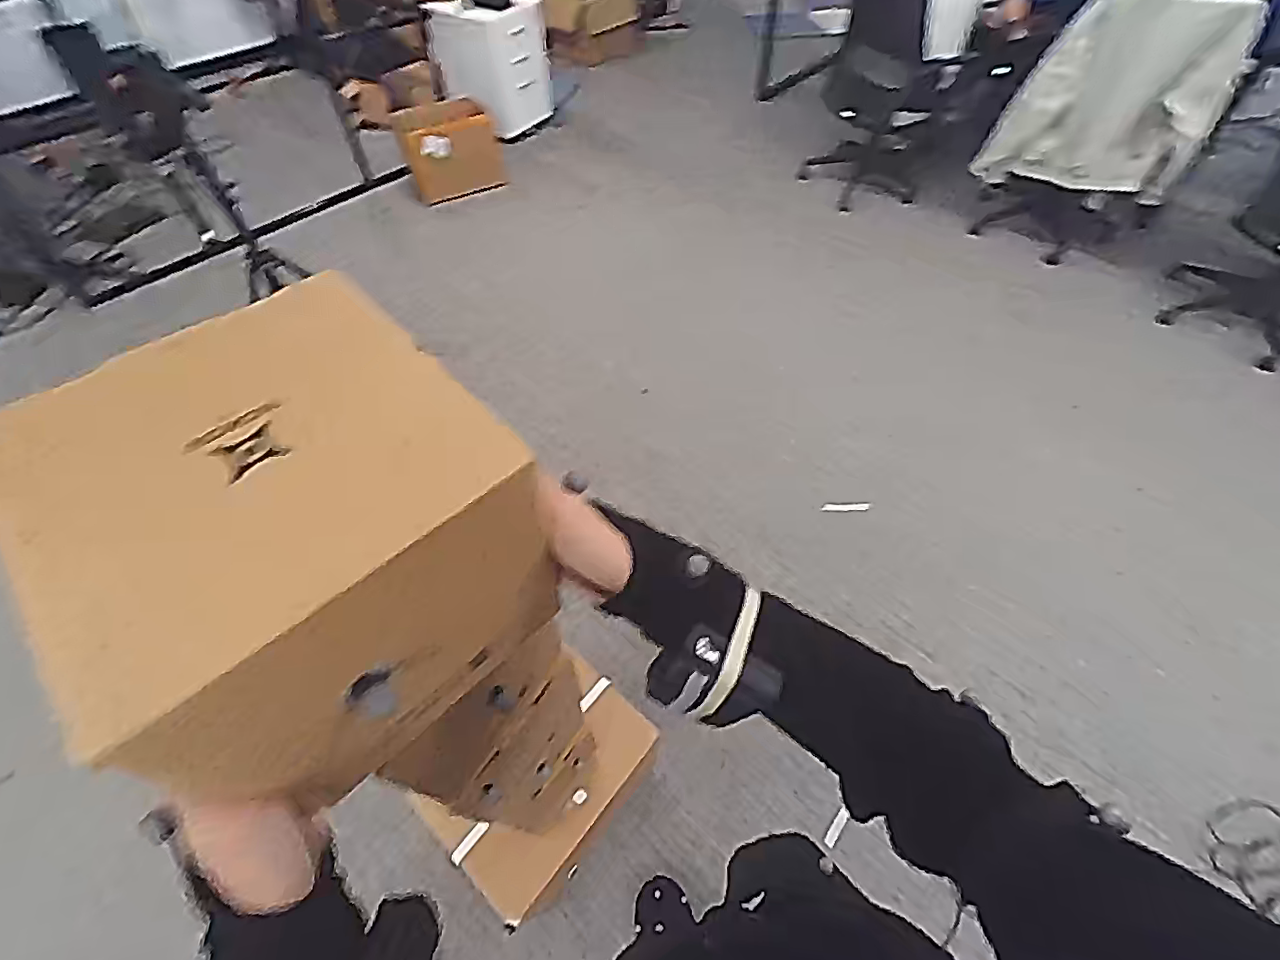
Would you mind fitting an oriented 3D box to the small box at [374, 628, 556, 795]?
[{"bbox_3d":[-0.187,0.138,0.455,0.179,0.176,0.168,26,57,16],"label":"small box"}]

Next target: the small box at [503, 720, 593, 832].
[{"bbox_3d":[-0.189,0.423,0.857,0.179,0.176,0.168,32,59,22],"label":"small box"}]

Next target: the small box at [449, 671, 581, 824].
[{"bbox_3d":[-0.194,0.328,0.722,0.179,0.176,0.168,29,58,19],"label":"small box"}]

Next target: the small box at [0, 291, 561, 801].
[{"bbox_3d":[-0.159,0.040,0.289,0.179,0.176,0.168,40,62,23],"label":"small box"}]

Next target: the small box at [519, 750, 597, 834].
[{"bbox_3d":[-0.197,0.517,0.988,0.179,0.176,0.168,34,62,21],"label":"small box"}]
